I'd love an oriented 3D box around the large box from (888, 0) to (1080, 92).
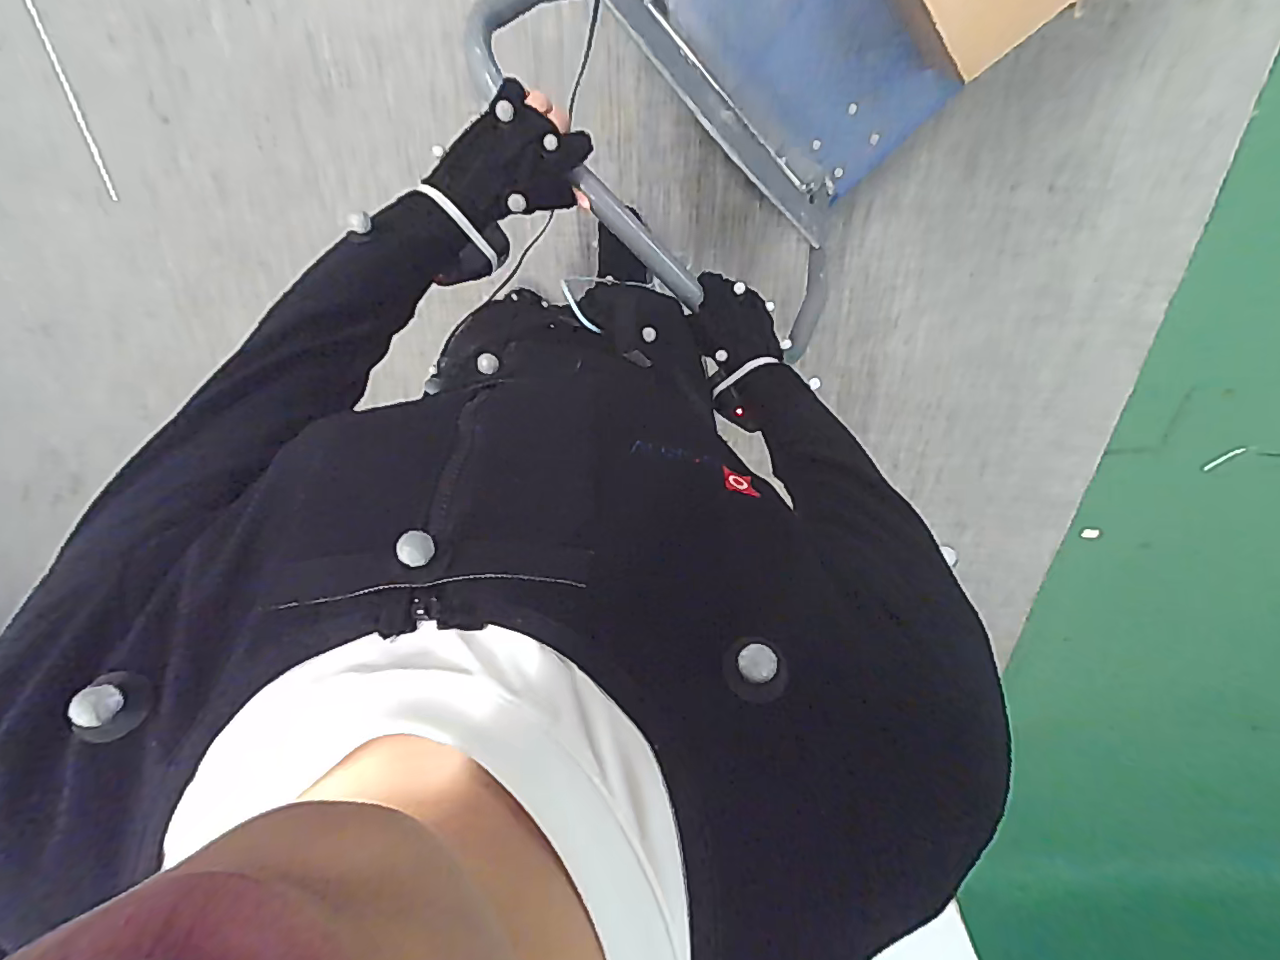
[{"bbox_3d":[0.447,-0.808,0.689,0.320,0.320,0.408,-30,116,34],"label":"large box"}]
